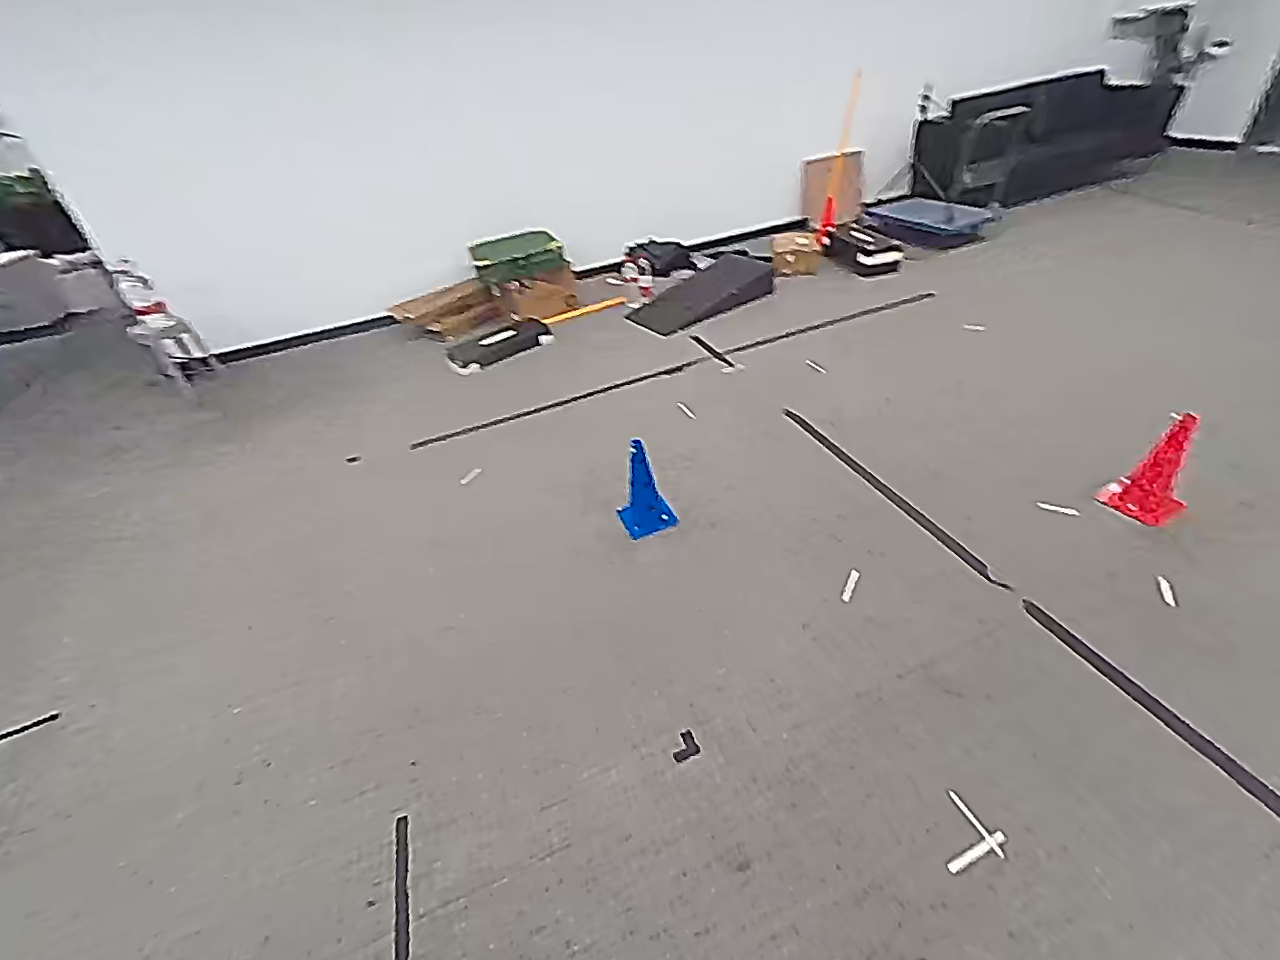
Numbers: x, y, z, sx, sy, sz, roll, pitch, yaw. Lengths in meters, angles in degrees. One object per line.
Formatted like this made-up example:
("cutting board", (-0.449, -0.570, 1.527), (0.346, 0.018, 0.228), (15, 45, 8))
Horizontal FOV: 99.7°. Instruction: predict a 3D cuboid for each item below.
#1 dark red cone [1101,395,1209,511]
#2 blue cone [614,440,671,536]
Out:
("dark red cone", (1.732, -0.102, 1.771), (0.201, 0.394, 0.202), (-25, 41, -18))
("blue cone", (-0.010, 0.009, 1.999), (0.192, 0.380, 0.193), (-19, 39, -12))
